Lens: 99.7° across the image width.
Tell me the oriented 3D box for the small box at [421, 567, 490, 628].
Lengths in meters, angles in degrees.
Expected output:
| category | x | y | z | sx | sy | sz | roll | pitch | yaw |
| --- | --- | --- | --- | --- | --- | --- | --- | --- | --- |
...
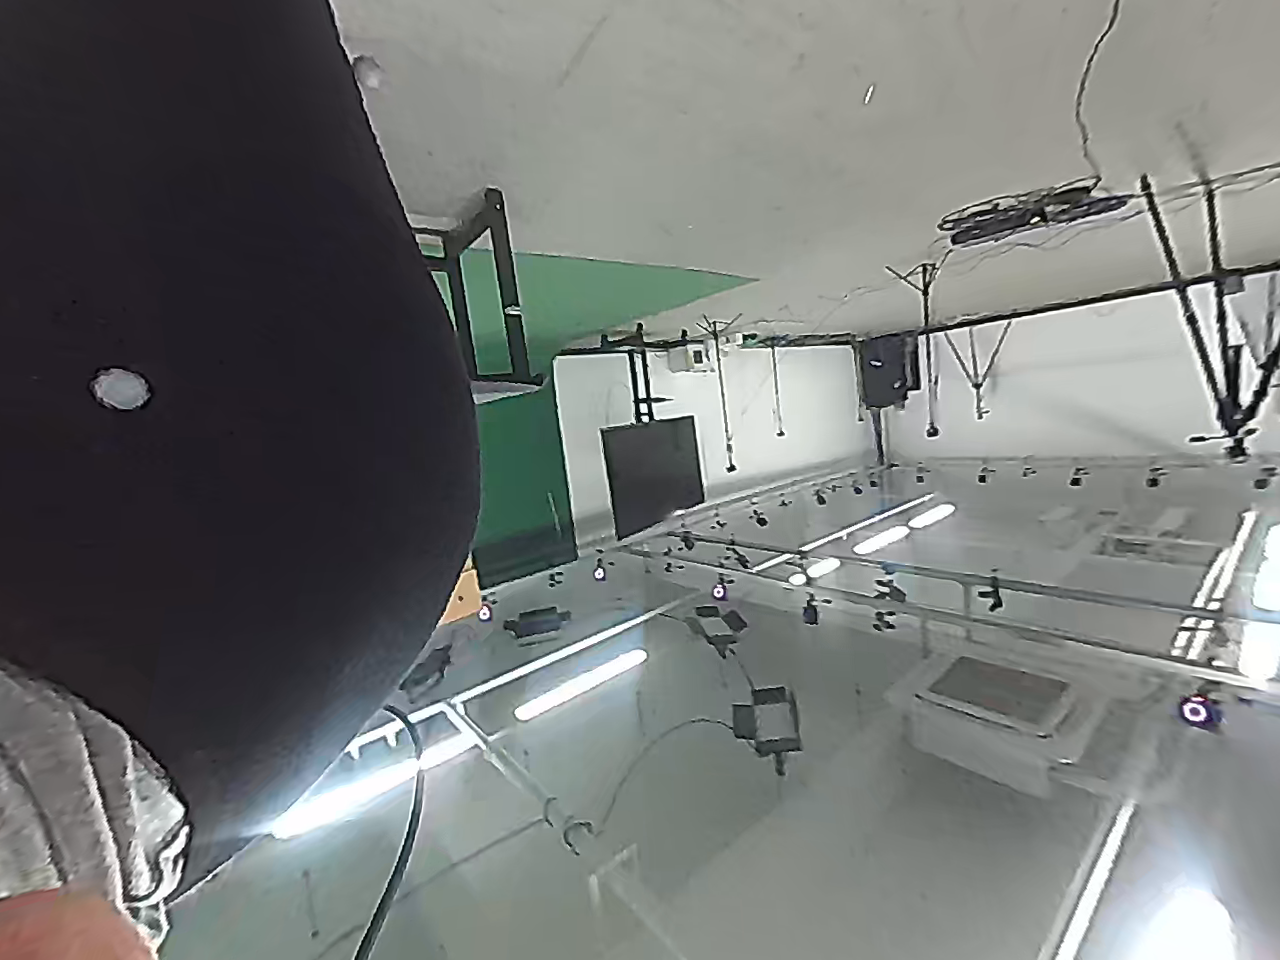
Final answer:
| category | x | y | z | sx | sy | sz | roll | pitch | yaw |
| --- | --- | --- | --- | --- | --- | --- | --- | --- | --- |
| small box | -0.692 | 0.429 | 2.021 | 0.179 | 0.176 | 0.168 | -16 | -170 | -39 |
